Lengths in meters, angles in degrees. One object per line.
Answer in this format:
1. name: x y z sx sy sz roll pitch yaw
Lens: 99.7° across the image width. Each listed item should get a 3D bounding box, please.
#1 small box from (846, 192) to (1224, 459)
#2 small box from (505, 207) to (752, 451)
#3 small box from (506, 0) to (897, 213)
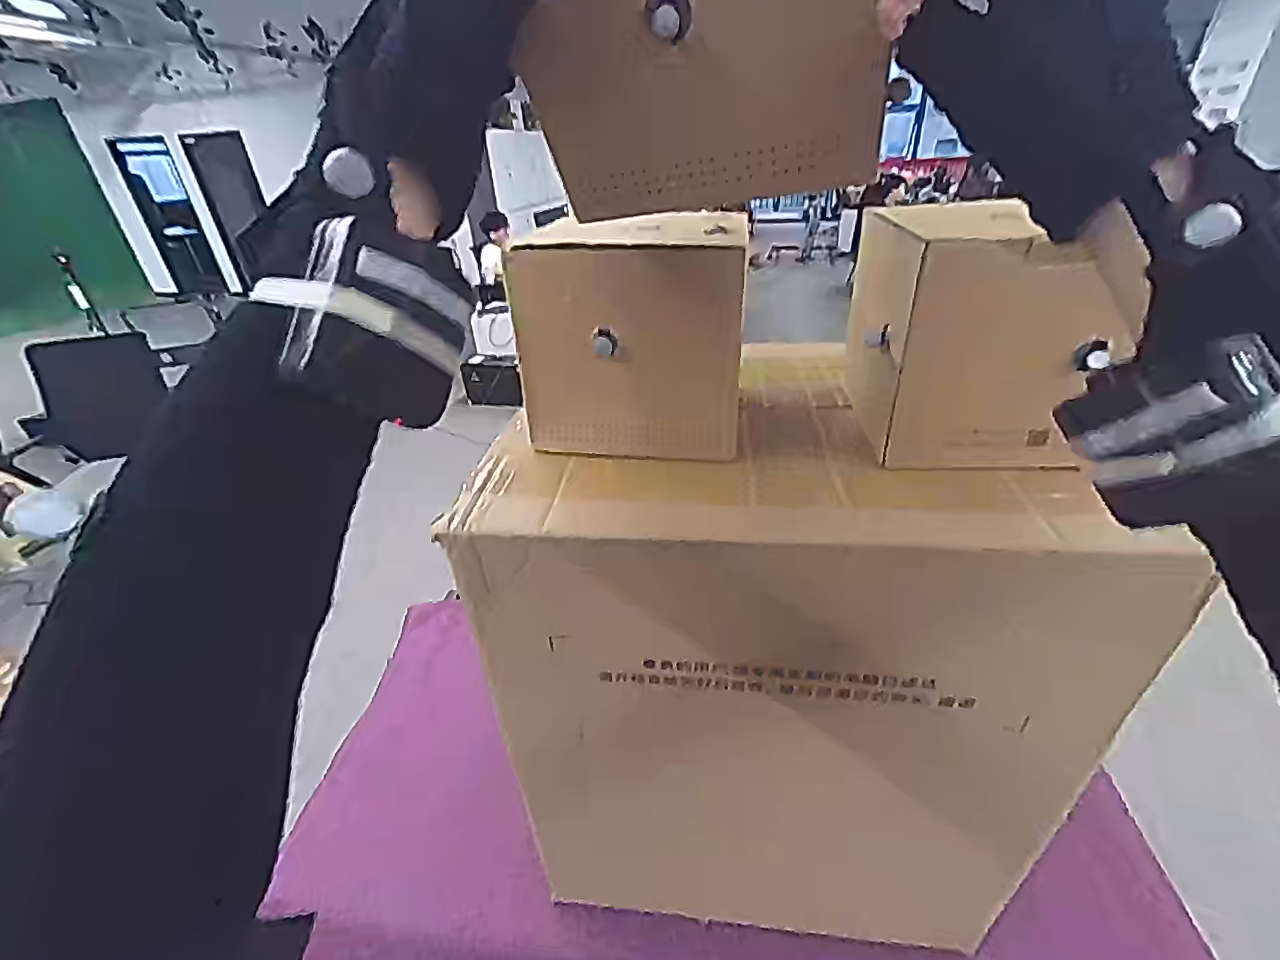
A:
1. small box: 0.275 -0.126 0.435 0.168 0.176 0.179 1 31 7
2. small box: 0.006 -0.136 0.475 0.179 0.176 0.168 3 33 9
3. small box: 0.040 -0.274 0.287 0.179 0.176 0.168 -1 57 19
